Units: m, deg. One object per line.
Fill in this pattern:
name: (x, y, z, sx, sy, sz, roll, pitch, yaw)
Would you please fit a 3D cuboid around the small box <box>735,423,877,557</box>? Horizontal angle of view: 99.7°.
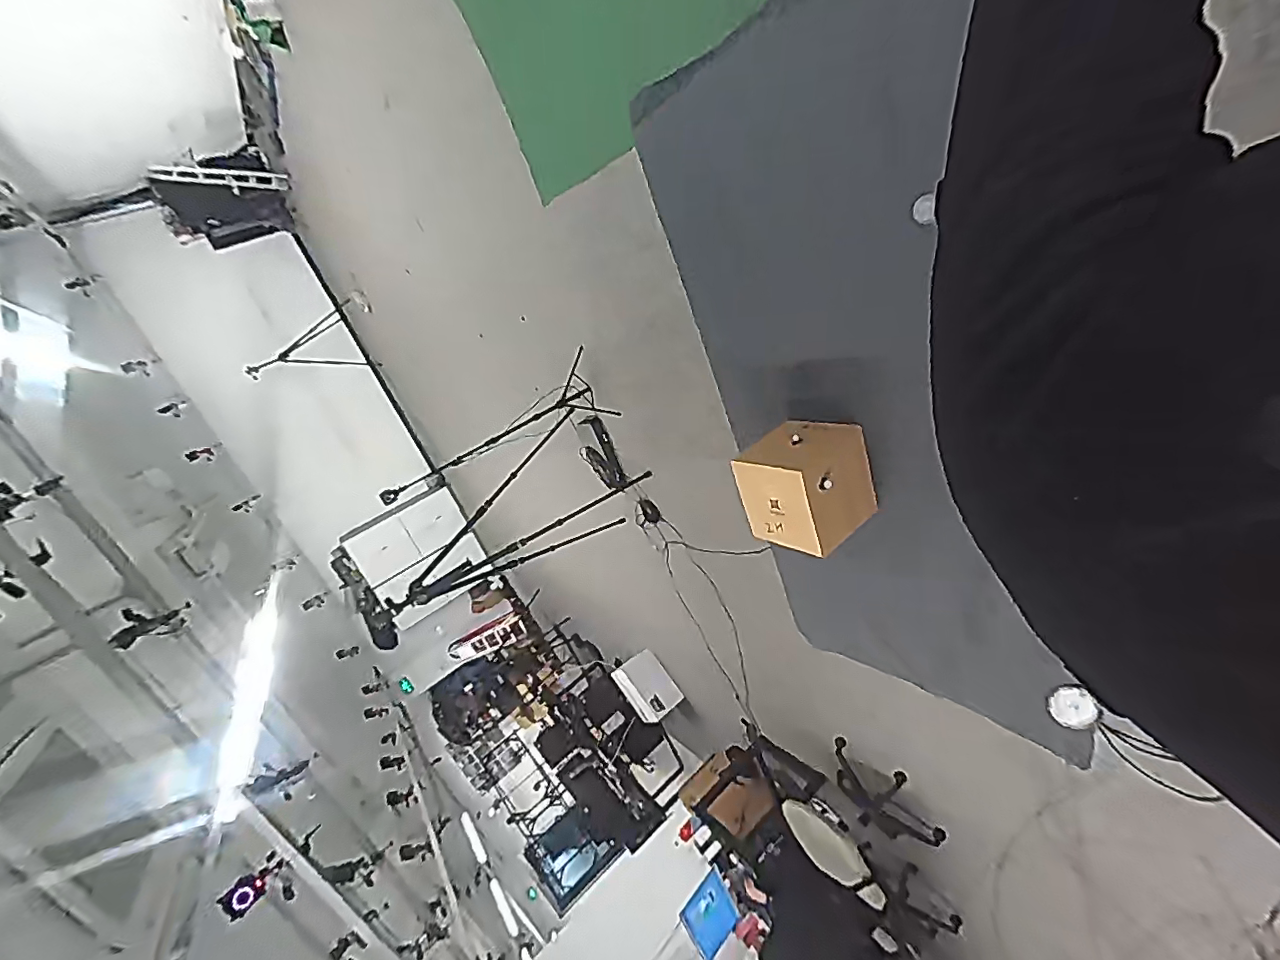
small box: (0.309, 0.008, 0.997, 0.168, 0.176, 0.179, 15, 132, 55)
